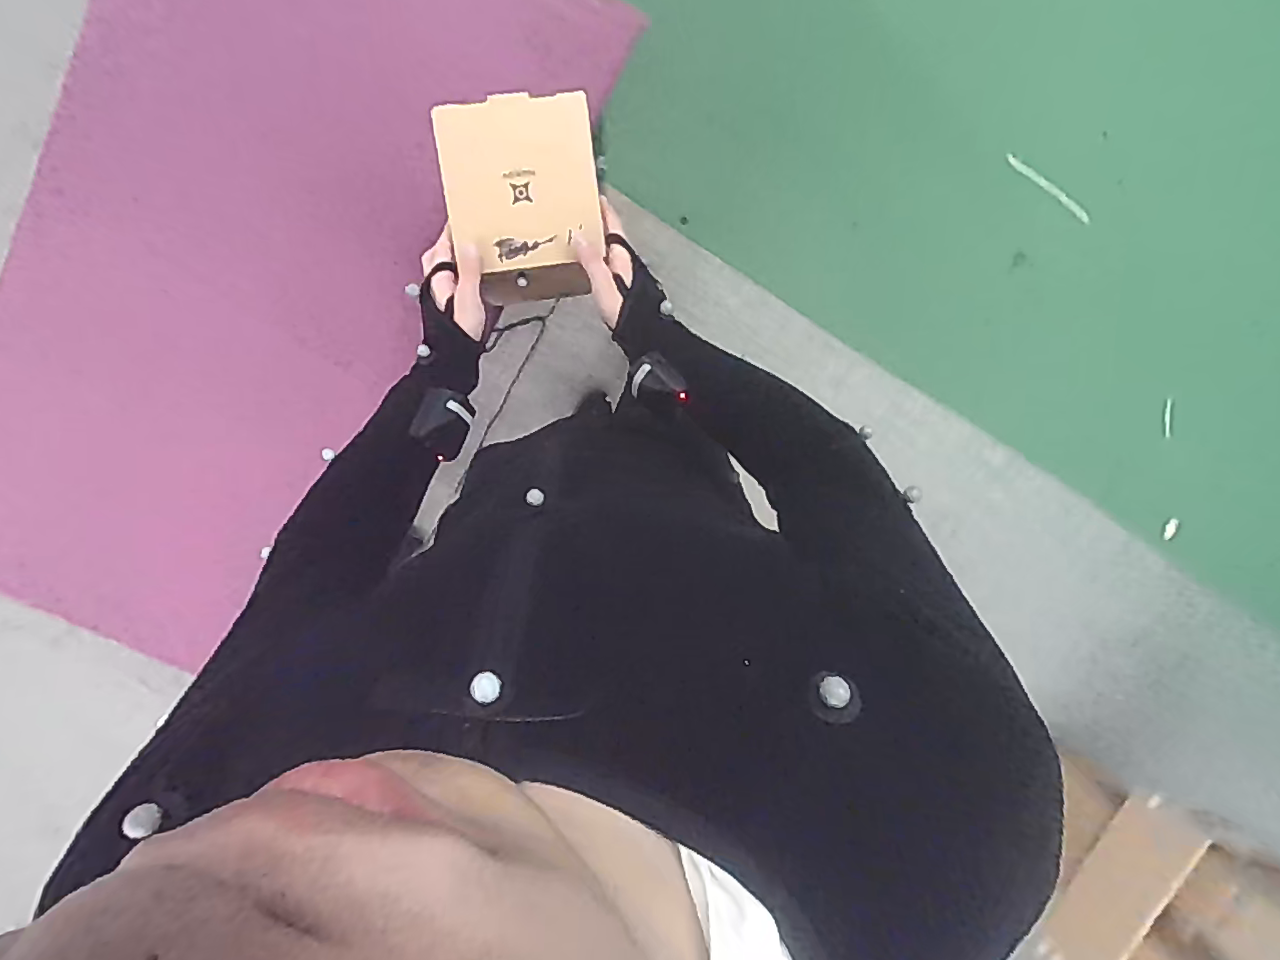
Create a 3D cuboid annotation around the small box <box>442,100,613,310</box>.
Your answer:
[{"bbox_3d":[-0.124,-0.316,0.654,0.168,0.176,0.179,-6,98,-2],"label":"small box"}]

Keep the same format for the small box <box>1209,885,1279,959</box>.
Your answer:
[{"bbox_3d":[1.531,1.112,1.280,0.179,0.176,0.168,24,98,-9],"label":"small box"}]
